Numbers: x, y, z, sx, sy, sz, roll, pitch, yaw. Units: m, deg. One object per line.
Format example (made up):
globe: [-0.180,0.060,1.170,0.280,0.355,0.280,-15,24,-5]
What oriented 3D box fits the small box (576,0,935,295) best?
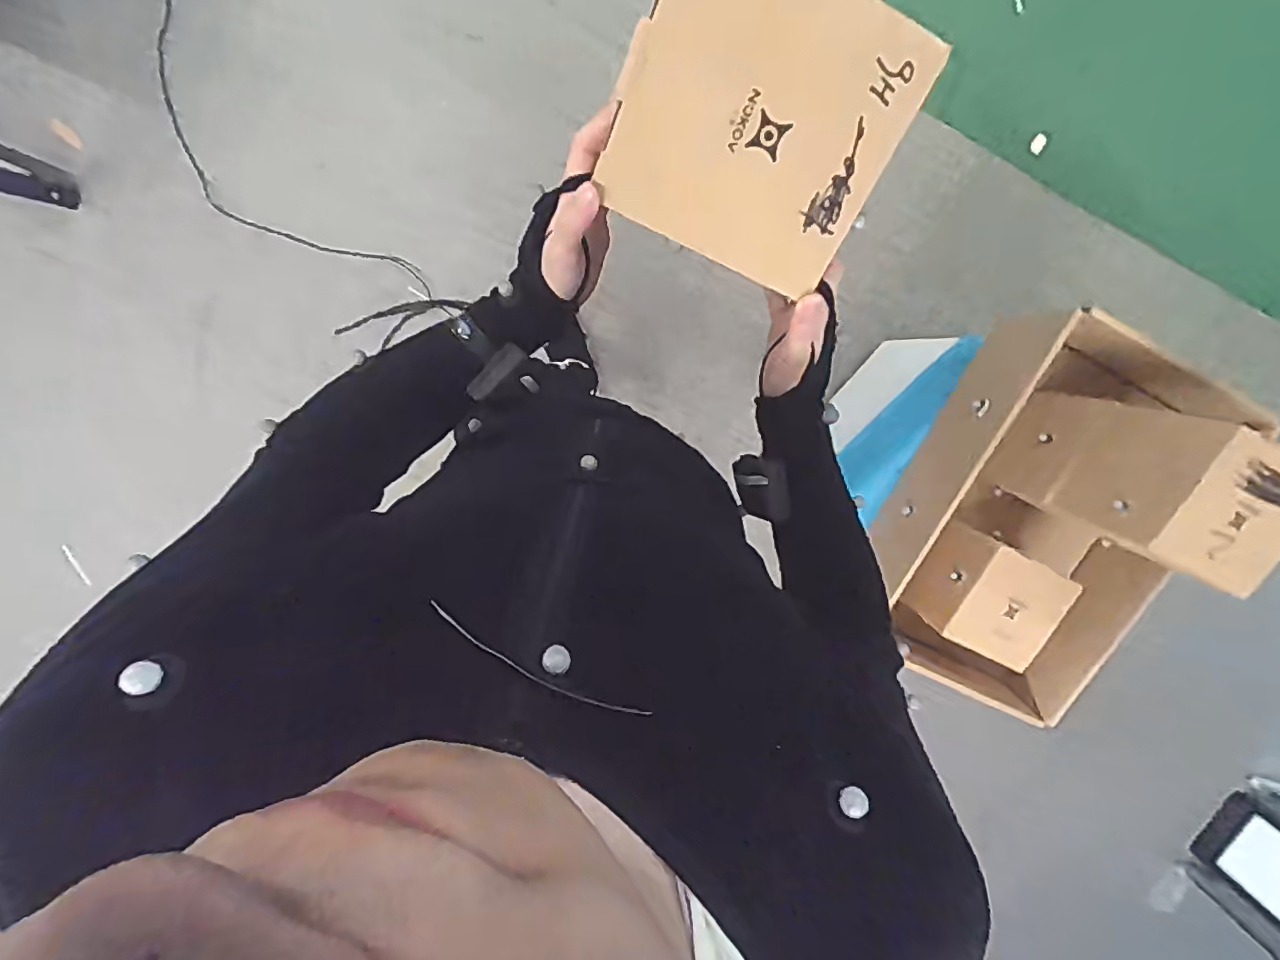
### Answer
small box: [0.072,-0.266,0.417,0.179,0.176,0.168,23,117,-8]
